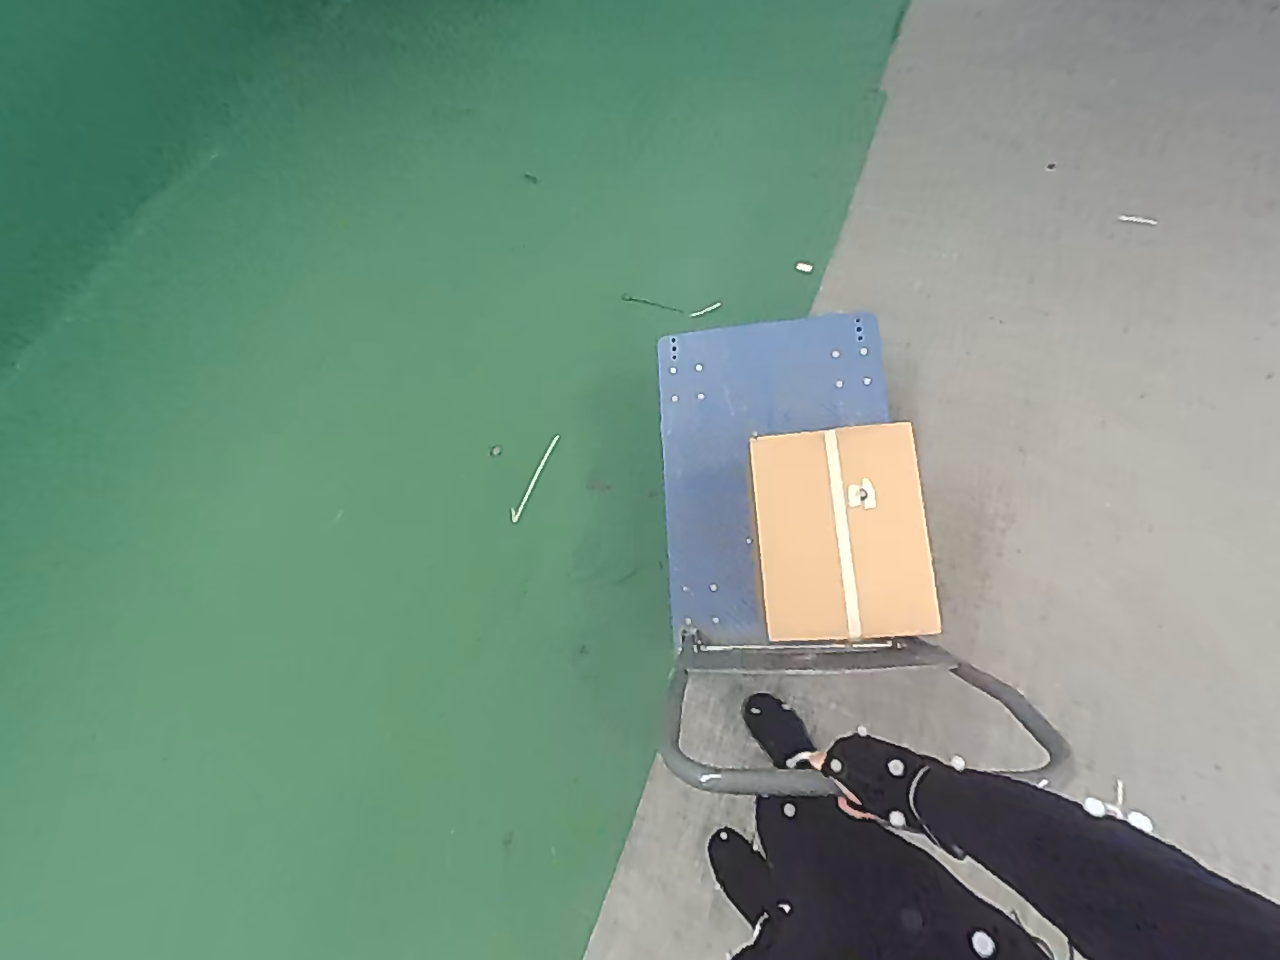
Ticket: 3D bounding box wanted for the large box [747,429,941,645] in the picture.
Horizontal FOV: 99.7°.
[{"bbox_3d":[0.414,0.134,1.196,0.320,0.320,0.408,-6,79,8],"label":"large box"}]
